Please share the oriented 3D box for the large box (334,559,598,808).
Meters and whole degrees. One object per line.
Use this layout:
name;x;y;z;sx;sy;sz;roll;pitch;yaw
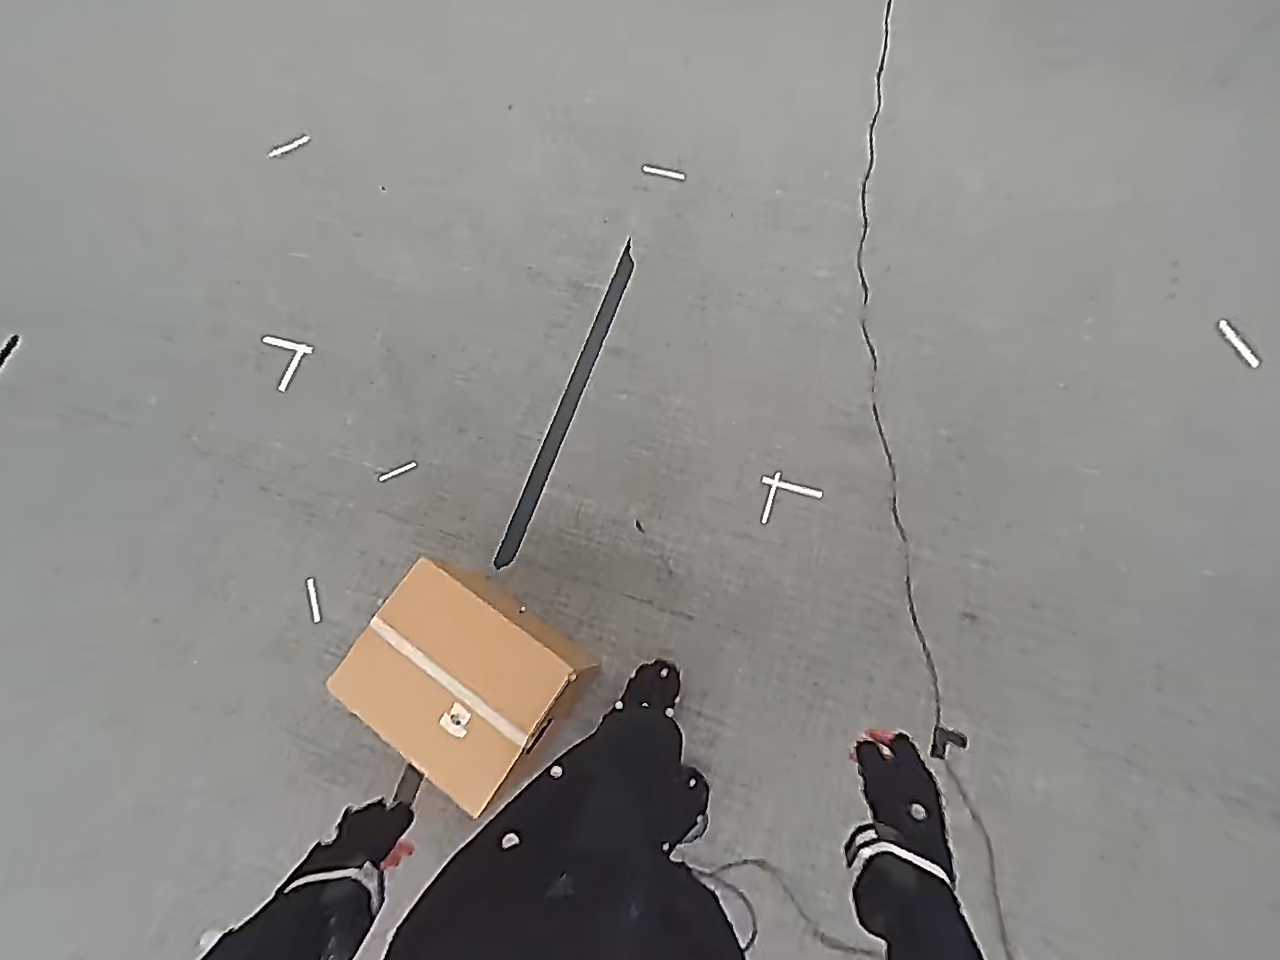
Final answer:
large box;-0.357;0.426;1.207;0.408;0.320;0.320;32;79;13
